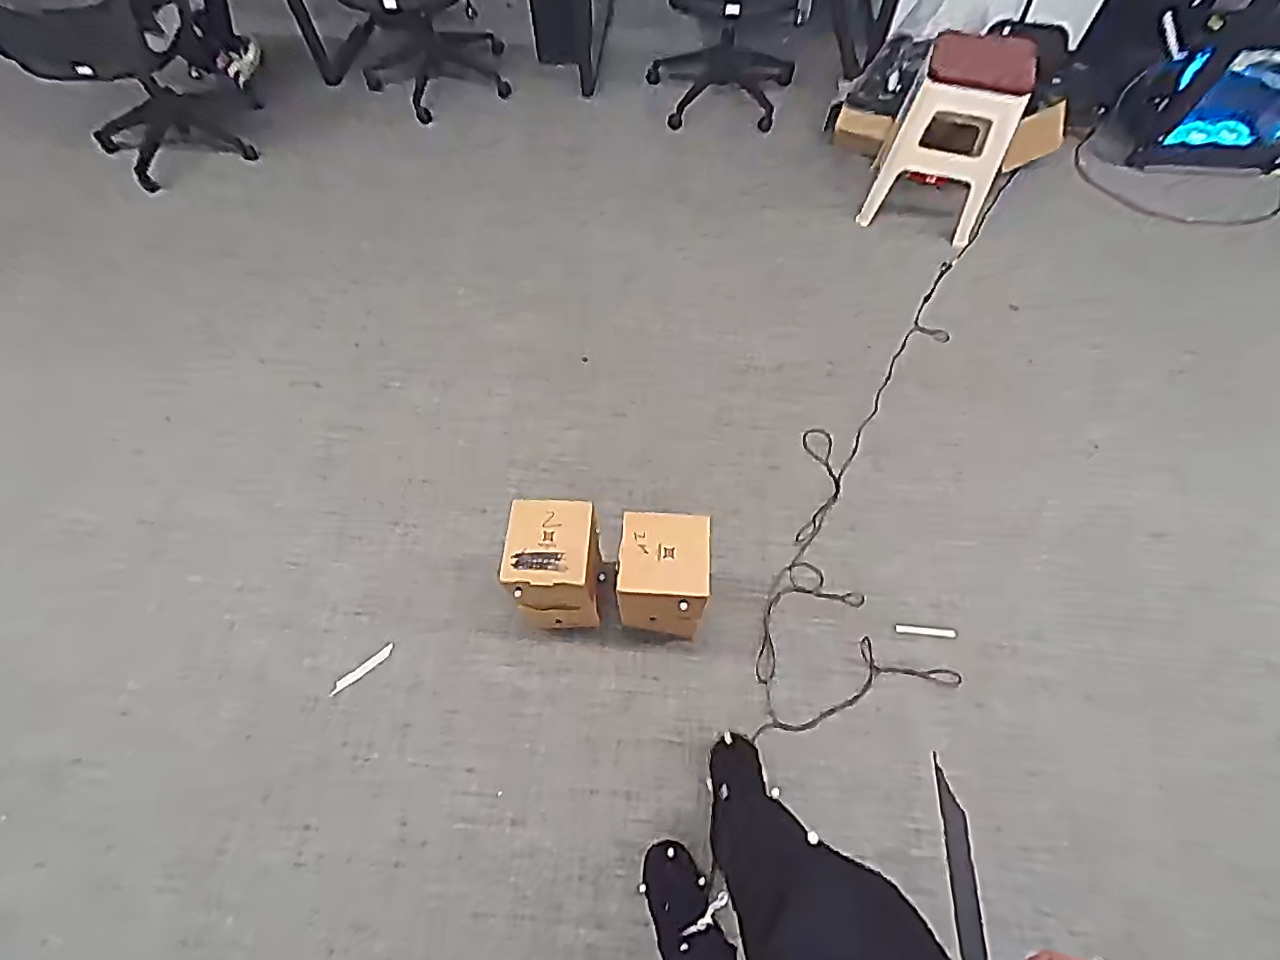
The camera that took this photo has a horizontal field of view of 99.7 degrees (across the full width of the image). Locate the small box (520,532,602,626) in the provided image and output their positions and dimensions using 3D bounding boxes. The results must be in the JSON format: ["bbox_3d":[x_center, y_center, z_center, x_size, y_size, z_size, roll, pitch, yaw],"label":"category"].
[{"bbox_3d":[-0.178,0.234,1.267,0.168,0.176,0.179,-2,62,0],"label":"small box"}]

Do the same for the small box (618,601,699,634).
[{"bbox_3d":[0.055,0.249,1.251,0.179,0.176,0.168,9,63,5],"label":"small box"}]

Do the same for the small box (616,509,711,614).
[{"bbox_3d":[0.050,0.172,1.105,0.179,0.176,0.168,3,62,4],"label":"small box"}]
